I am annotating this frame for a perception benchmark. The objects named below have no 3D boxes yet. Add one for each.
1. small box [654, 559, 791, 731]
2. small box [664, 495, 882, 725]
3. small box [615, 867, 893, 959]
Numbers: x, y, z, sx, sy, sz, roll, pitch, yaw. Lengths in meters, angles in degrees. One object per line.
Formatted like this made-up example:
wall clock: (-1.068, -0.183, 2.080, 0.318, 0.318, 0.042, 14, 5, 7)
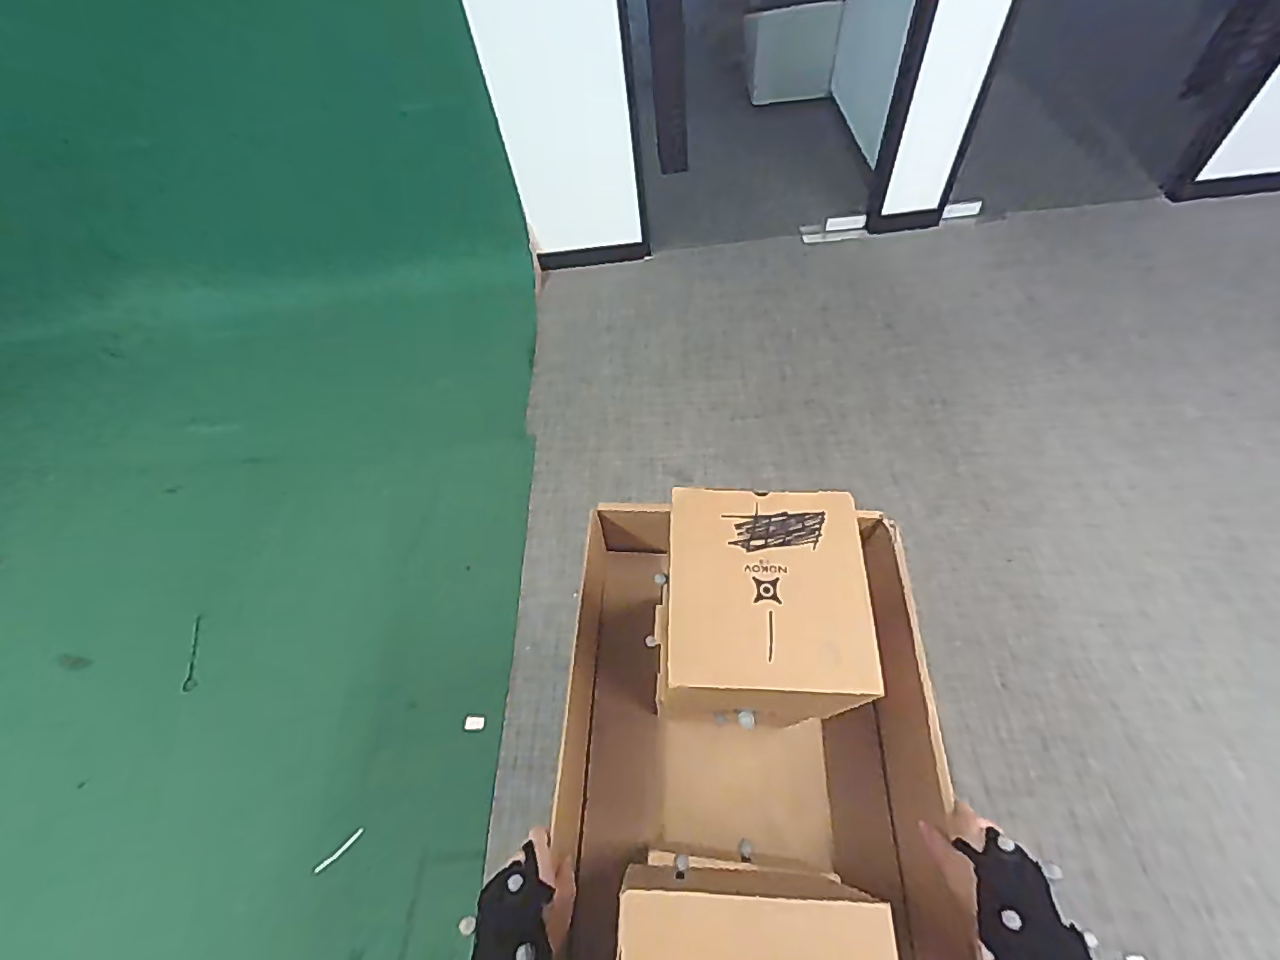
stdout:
small box: (0.111, 0.208, 0.667, 0.179, 0.176, 0.168, 3, 60, 3)
small box: (0.109, 0.131, 0.523, 0.168, 0.176, 0.179, 2, 62, 3)
small box: (0.071, 0.385, 0.382, 0.179, 0.176, 0.168, 2, 60, 1)
